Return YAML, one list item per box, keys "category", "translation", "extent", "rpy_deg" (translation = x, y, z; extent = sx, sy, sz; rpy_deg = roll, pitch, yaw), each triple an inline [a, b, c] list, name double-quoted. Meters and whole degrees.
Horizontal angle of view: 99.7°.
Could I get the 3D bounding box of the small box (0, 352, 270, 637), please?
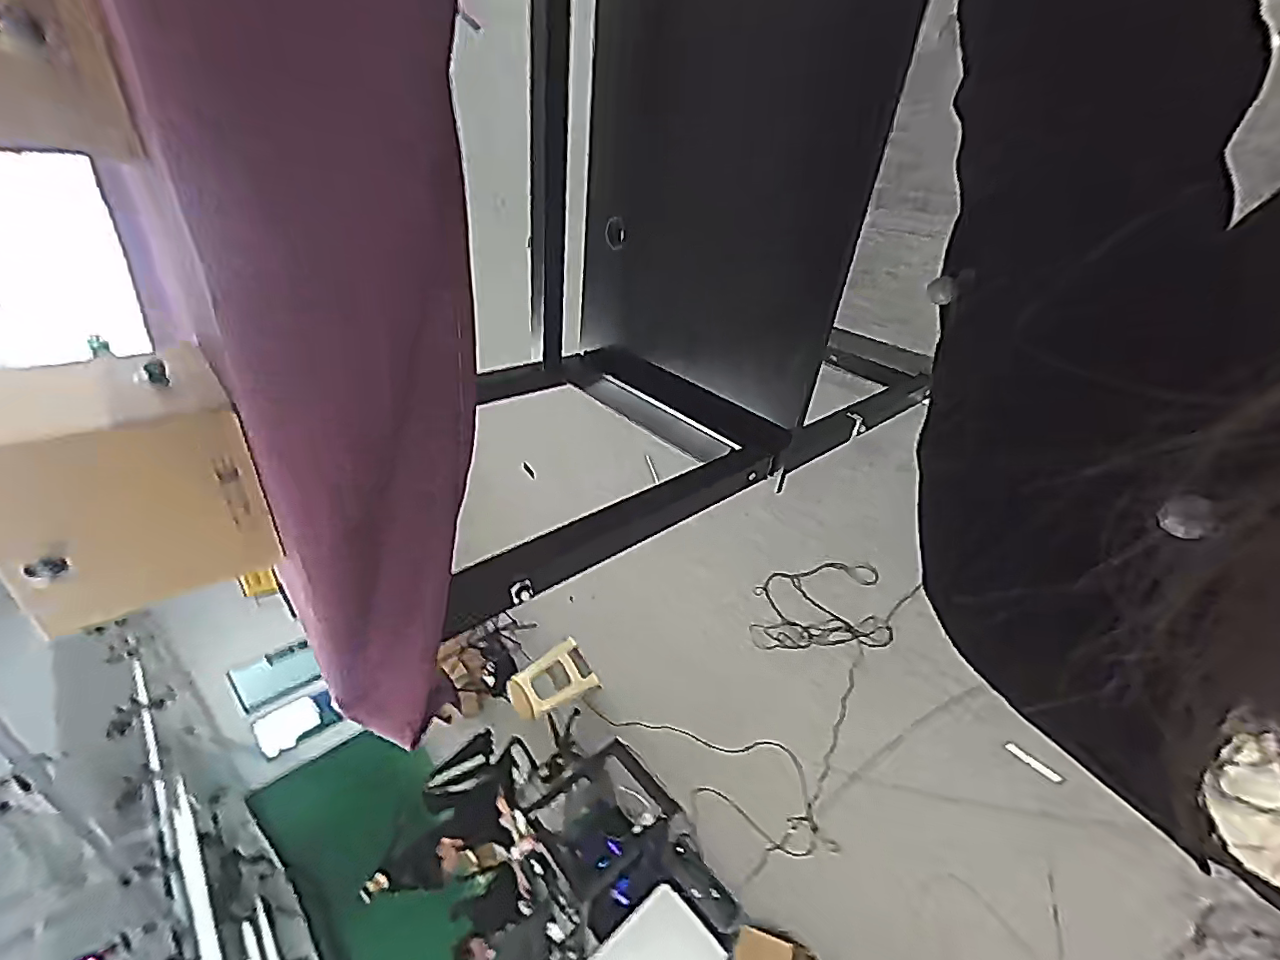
- category: "small box"
  translation: [-0.454, -0.005, 0.476]
  extent: [0.179, 0.176, 0.168]
  rpy_deg: [34, 132, 37]
